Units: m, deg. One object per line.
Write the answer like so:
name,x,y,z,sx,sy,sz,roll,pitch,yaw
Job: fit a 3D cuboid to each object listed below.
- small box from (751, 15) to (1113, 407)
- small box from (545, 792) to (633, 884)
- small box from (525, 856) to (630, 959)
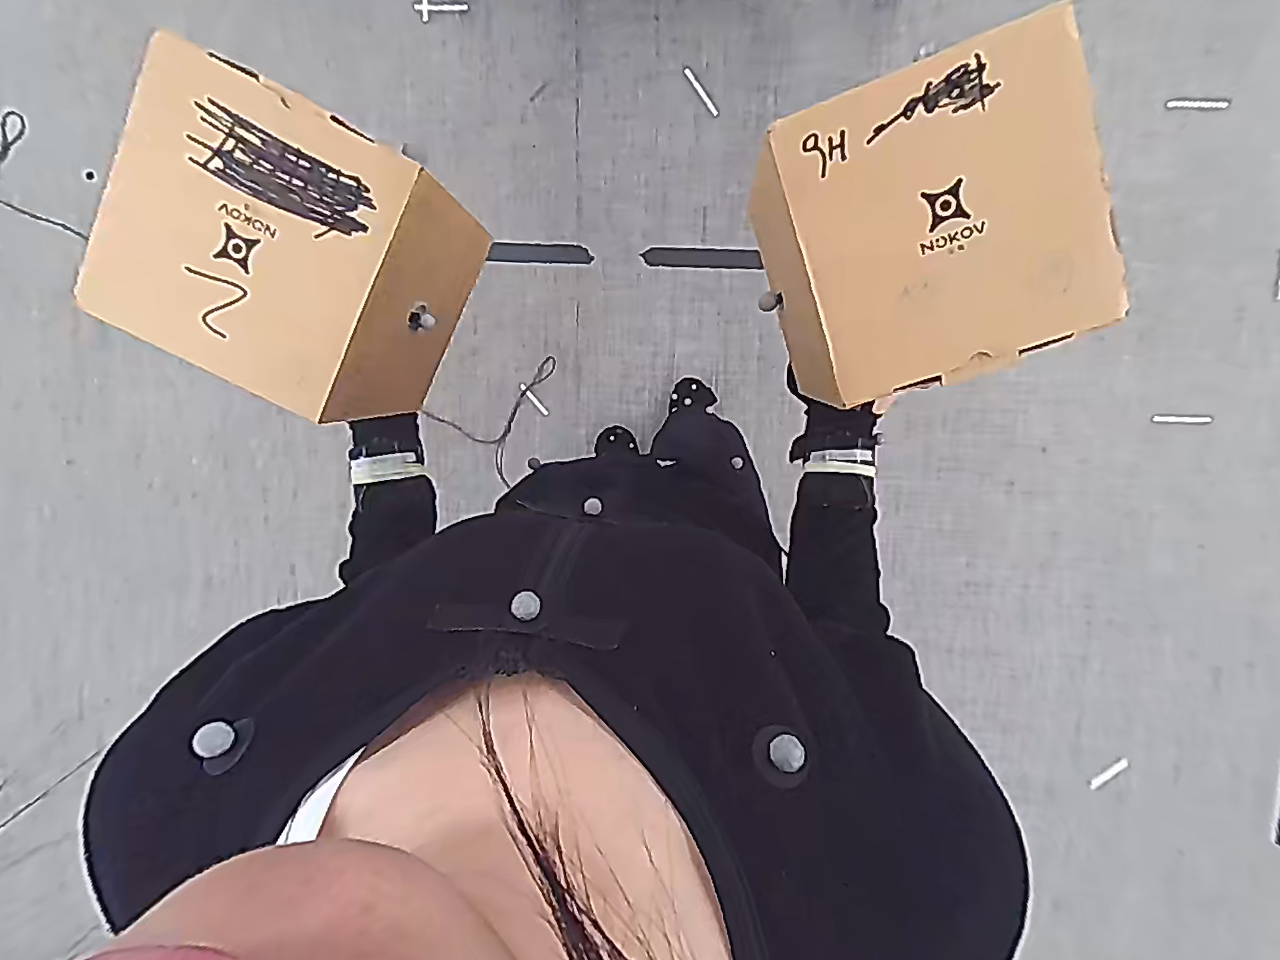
small box,0.188,-0.168,0.398,0.168,0.176,0.179,-17,100,10
small box,-0.113,0.815,1.178,0.179,0.176,0.168,9,95,0
small box,-0.109,0.845,1.017,0.168,0.176,0.179,-6,96,2
